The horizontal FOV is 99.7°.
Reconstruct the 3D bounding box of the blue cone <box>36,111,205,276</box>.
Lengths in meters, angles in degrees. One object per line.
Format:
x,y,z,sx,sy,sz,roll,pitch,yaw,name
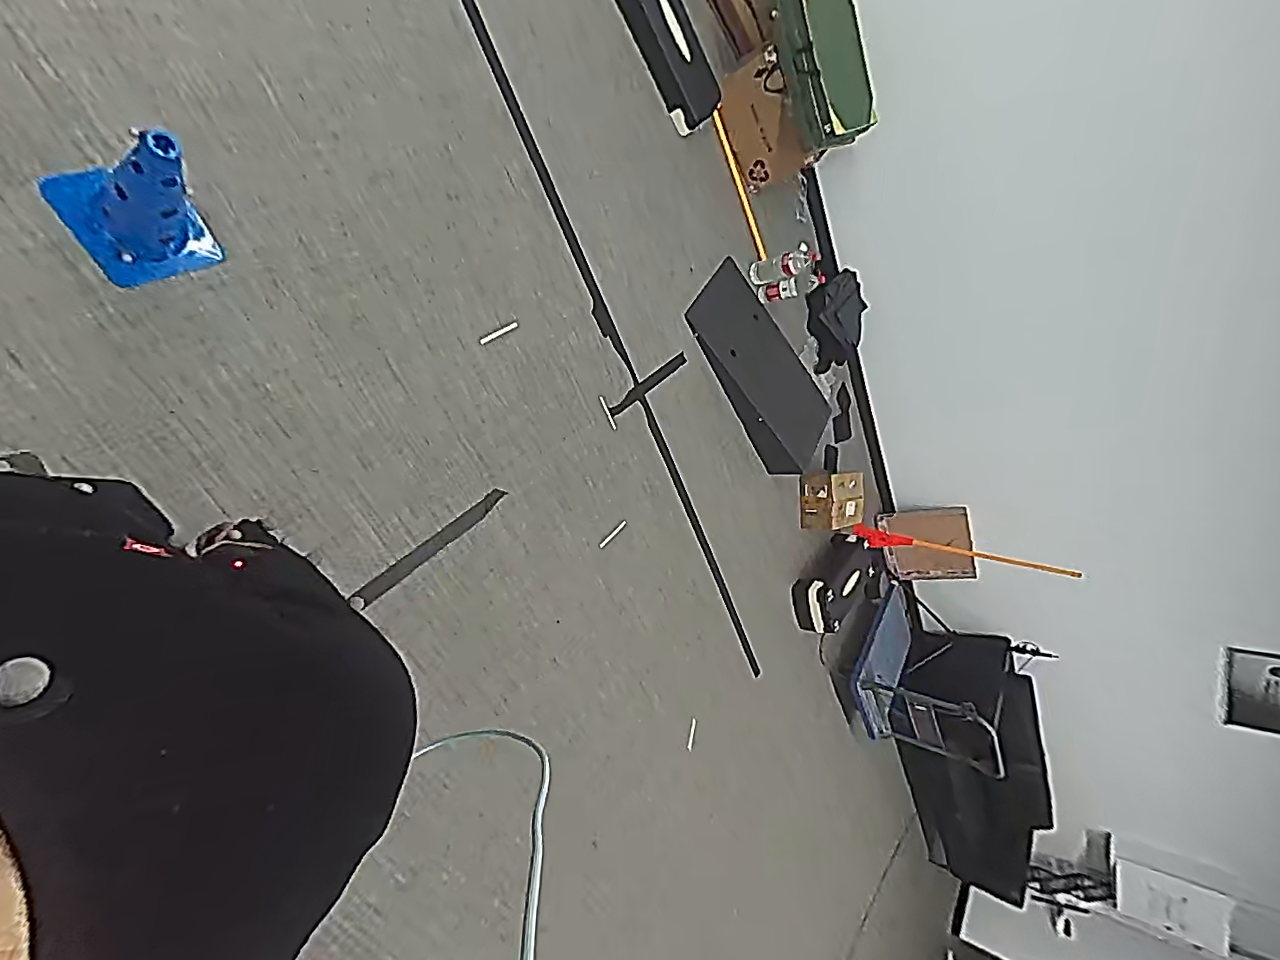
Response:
-0.841,-0.496,0.903,0.193,0.380,0.192,-43,119,-39,blue cone
